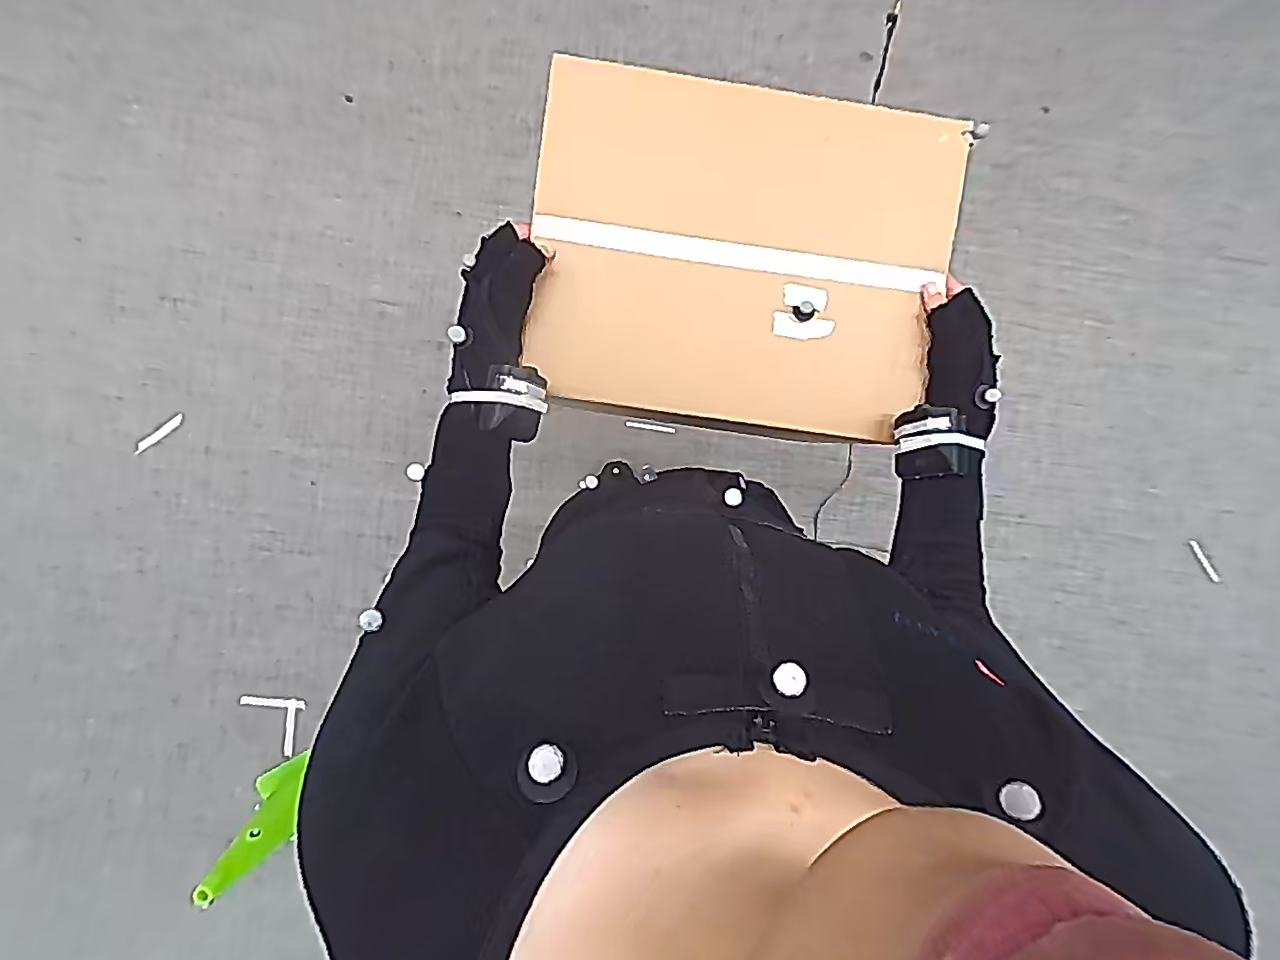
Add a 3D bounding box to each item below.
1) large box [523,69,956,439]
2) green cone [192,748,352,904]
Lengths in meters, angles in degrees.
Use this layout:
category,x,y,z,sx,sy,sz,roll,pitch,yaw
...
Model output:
category,x,y,z,sx,sy,sz,roll,pitch,yaw
large box,0.090,-0.228,0.678,0.408,0.320,0.320,8,95,-3
green cone,-0.915,0.860,1.309,0.202,0.368,0.200,-30,91,1
